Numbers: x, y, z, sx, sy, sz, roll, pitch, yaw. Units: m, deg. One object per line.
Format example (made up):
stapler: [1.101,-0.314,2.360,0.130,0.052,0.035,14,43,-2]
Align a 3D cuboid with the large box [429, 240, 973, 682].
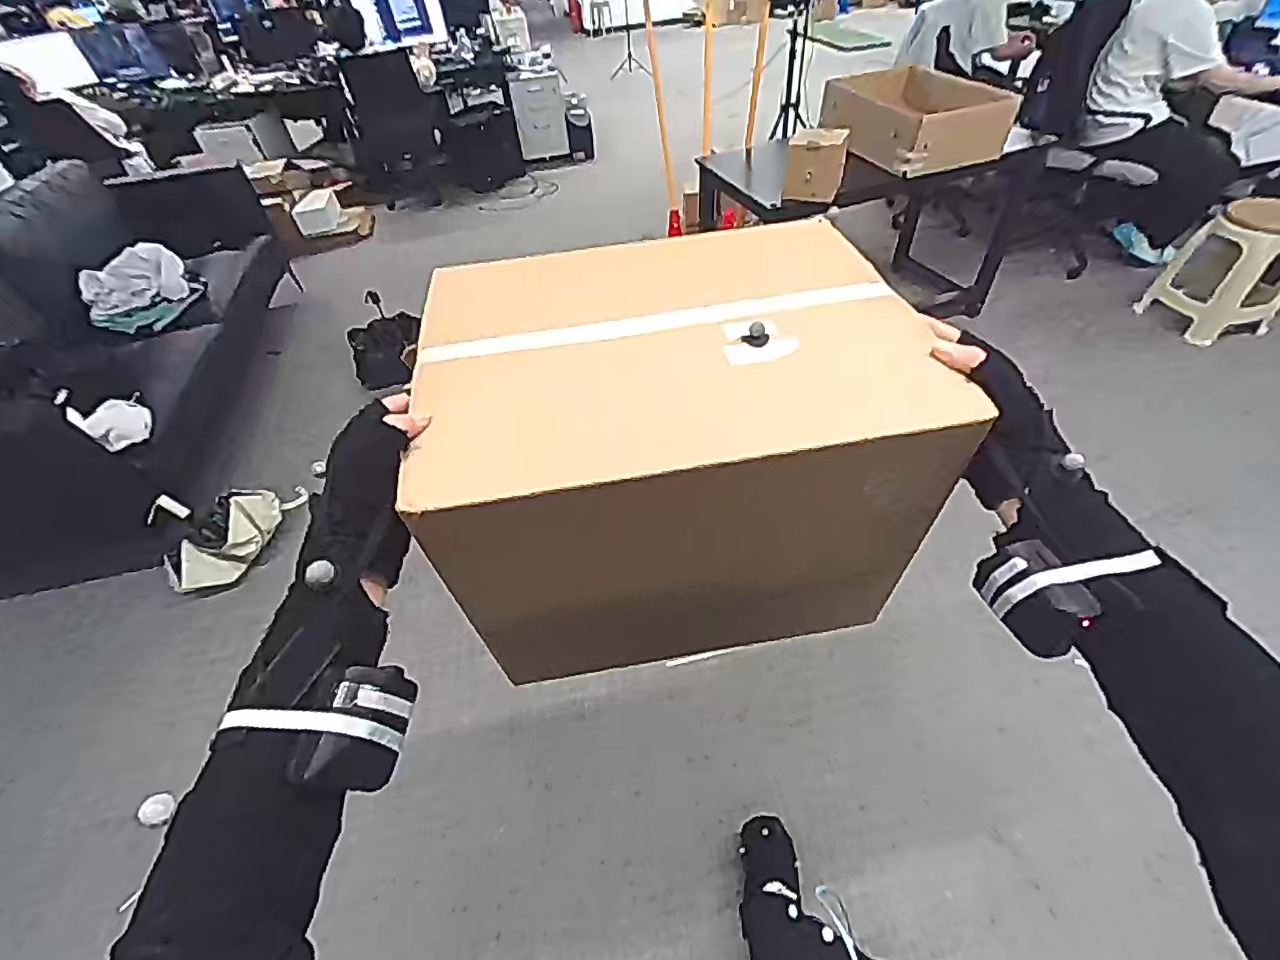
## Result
large box: [0.031,-0.020,0.585,0.408,0.320,0.320,-9,49,-4]
